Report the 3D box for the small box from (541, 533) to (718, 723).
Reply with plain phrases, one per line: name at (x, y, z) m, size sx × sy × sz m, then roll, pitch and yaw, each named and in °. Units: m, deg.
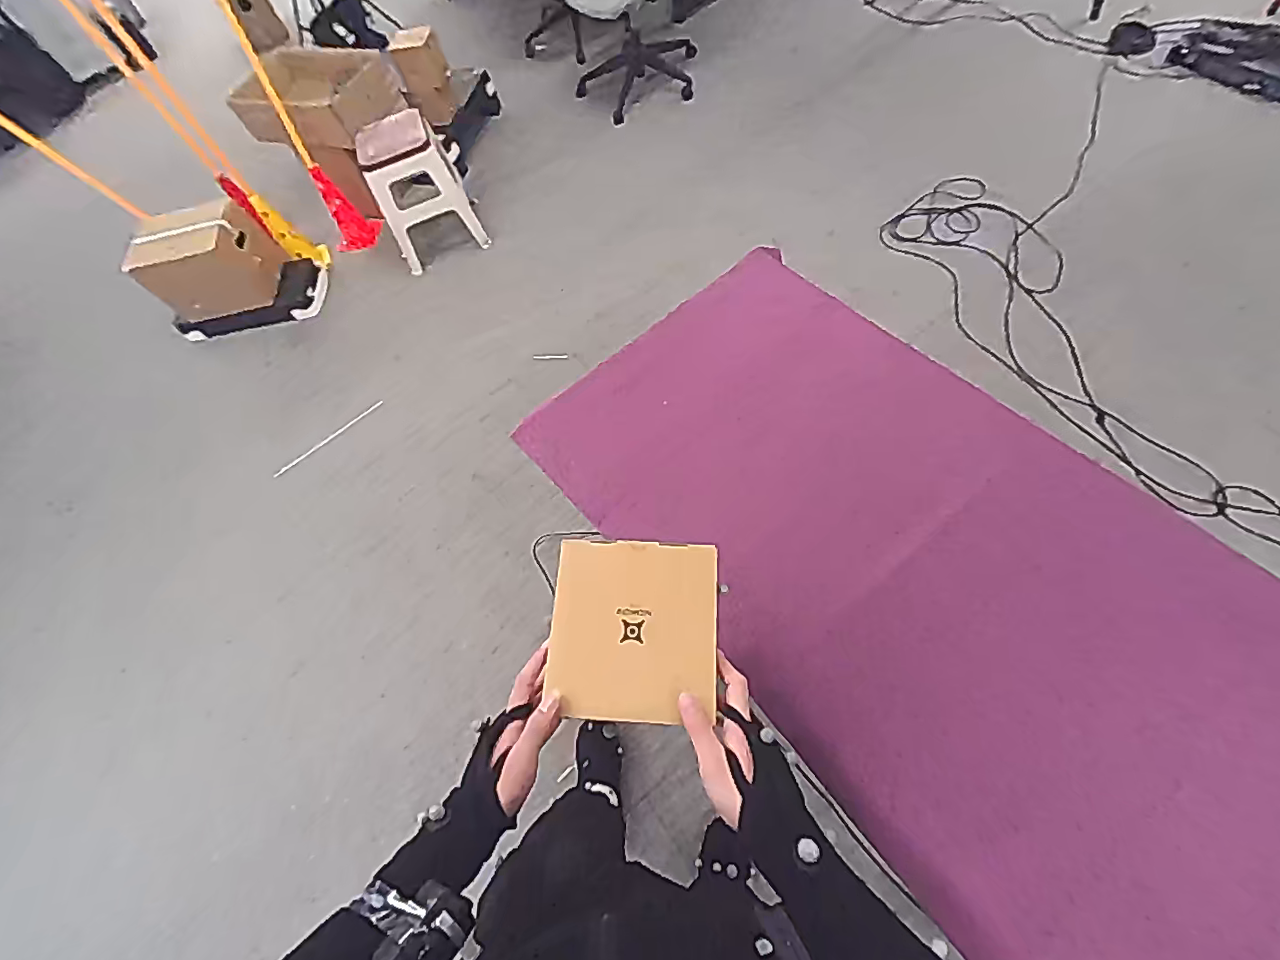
small box at (-0.001, 0.171, 0.605) m, size 0.168 × 0.176 × 0.179 m, roll 2°, pitch 65°, yaw 5°
